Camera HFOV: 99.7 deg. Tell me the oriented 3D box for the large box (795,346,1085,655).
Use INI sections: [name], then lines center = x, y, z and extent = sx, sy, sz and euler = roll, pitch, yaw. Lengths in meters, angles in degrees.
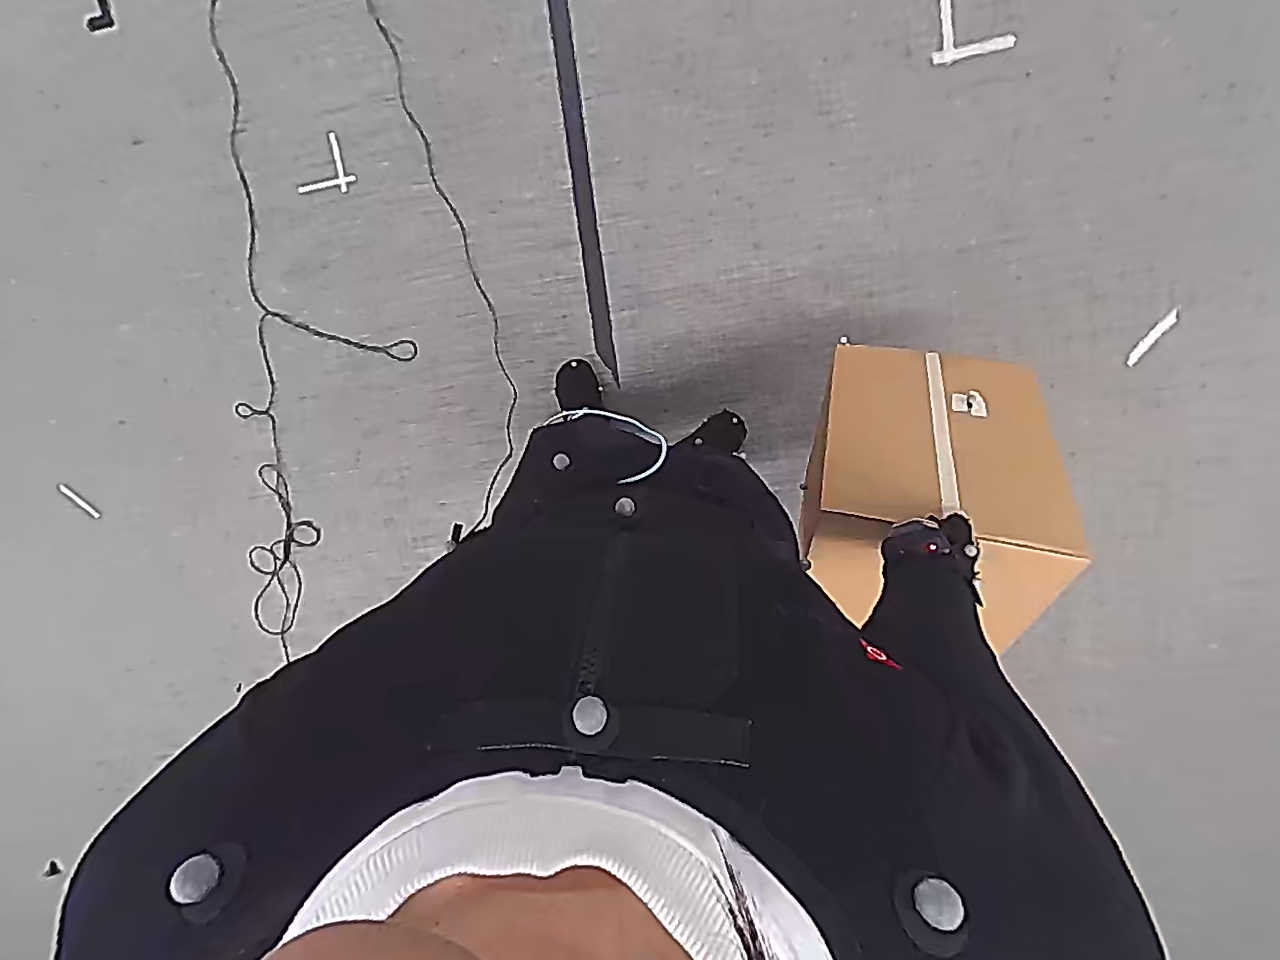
[large box]
center = 0.449, 0.024, 0.918
extent = 0.320, 0.408, 0.320
euler = 10, 137, 12
